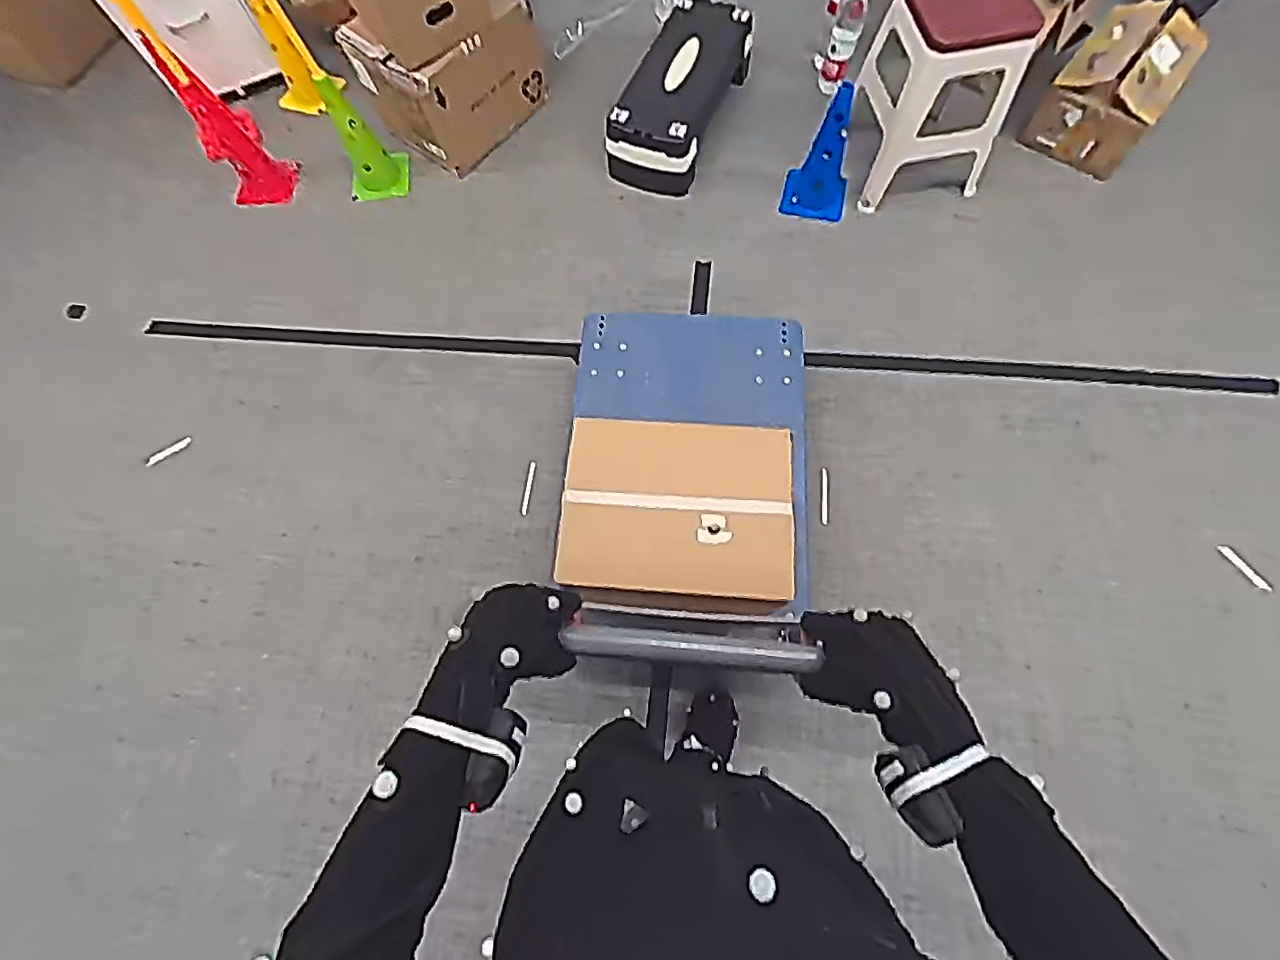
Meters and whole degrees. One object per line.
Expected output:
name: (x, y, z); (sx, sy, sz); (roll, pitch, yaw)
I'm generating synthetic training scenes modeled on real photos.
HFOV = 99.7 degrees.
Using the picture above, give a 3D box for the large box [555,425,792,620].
large box: (0.064, 0.100, 1.086); (0.408, 0.320, 0.320); (3, 71, 3)
